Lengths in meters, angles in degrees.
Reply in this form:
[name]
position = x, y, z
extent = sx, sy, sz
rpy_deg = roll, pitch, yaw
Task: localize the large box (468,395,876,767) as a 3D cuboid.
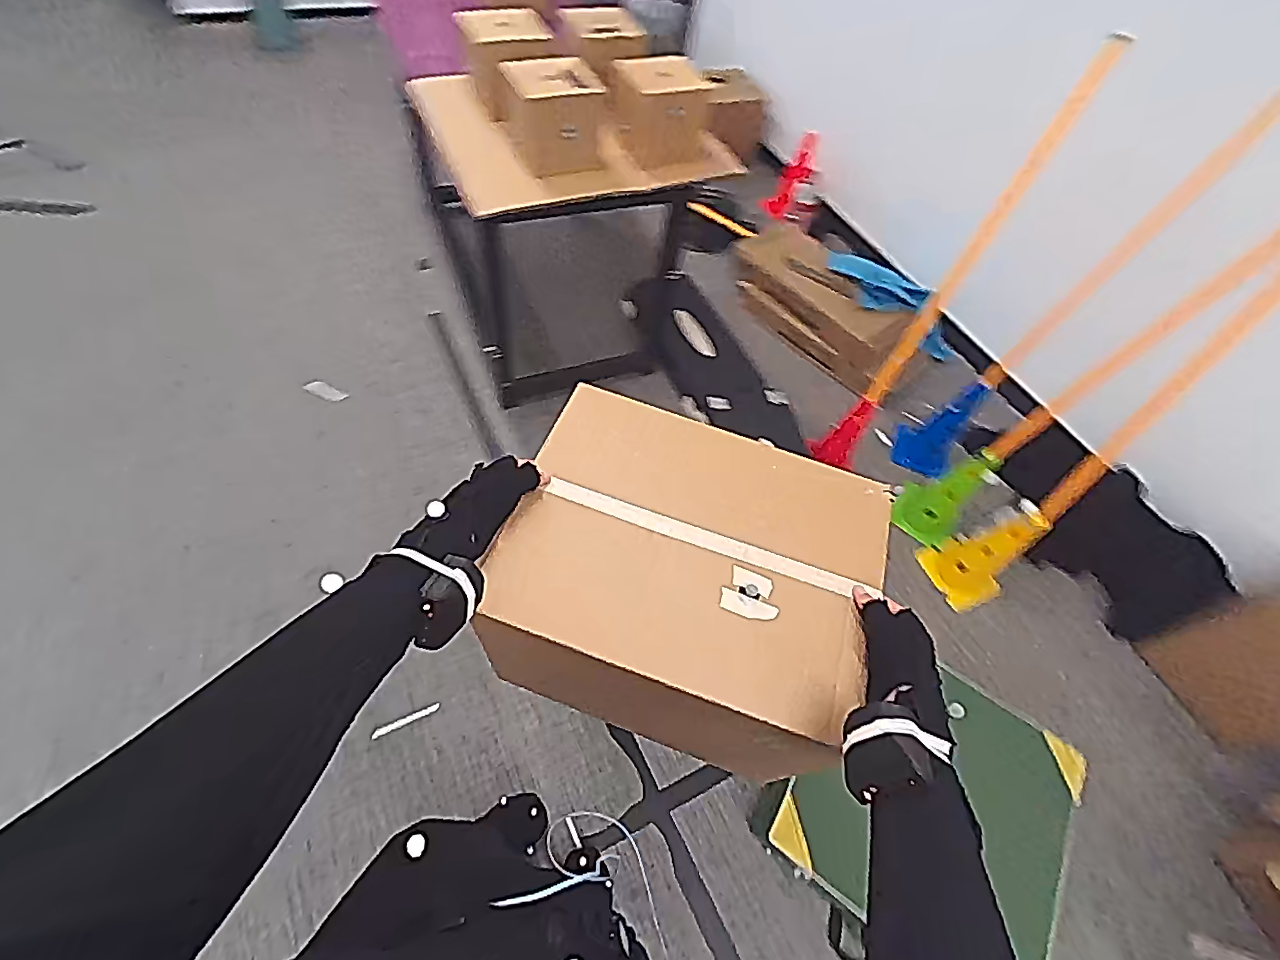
[large box]
position = 0.042, 0.146, 0.724
extent = 0.408, 0.320, 0.320
rpy_deg = 18, 59, 5
